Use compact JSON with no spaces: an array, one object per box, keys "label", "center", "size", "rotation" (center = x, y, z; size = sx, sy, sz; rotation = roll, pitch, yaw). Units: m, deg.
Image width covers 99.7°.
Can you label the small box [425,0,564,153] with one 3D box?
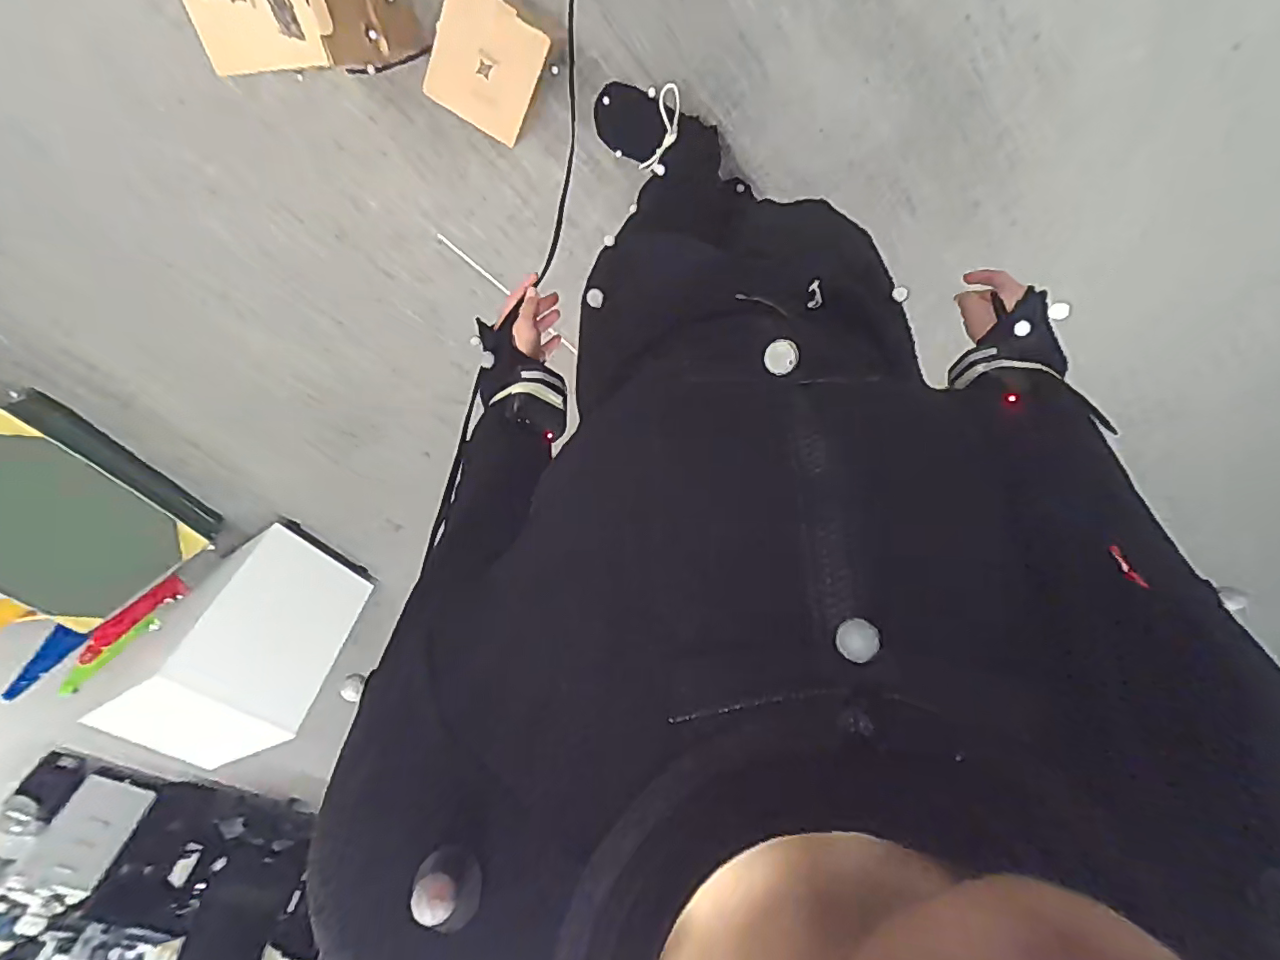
[{"label":"small box","center":[-0.244,-0.712,0.937],"size":[0.168,0.176,0.179],"rotation":[26,127,-15]}]

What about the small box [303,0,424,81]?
[{"label":"small box","center":[-0.487,-0.786,0.891],"size":[0.168,0.176,0.179],"rotation":[-5,129,9]}]

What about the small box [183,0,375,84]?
[{"label":"small box","center":[-0.508,-0.677,0.768],"size":[0.179,0.176,0.168],"rotation":[-1,129,7]}]
